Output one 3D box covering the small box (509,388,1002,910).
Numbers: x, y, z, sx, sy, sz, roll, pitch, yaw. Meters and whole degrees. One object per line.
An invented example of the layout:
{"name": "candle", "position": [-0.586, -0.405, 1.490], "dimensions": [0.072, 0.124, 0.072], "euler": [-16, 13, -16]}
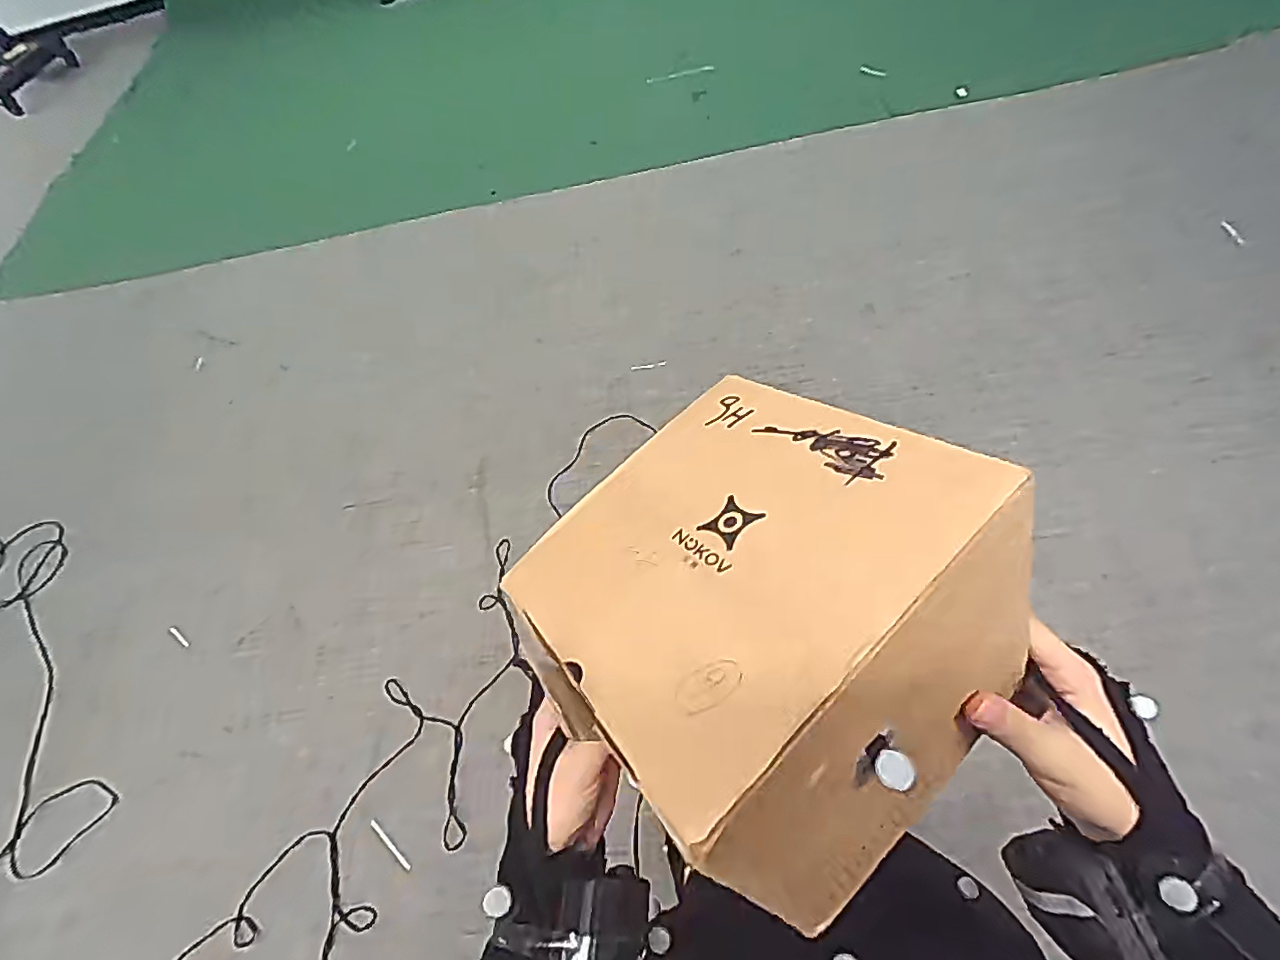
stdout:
{"name": "small box", "position": [0.068, 0.084, 0.294], "dimensions": [0.179, 0.176, 0.168], "euler": [-42, 40, -11]}
